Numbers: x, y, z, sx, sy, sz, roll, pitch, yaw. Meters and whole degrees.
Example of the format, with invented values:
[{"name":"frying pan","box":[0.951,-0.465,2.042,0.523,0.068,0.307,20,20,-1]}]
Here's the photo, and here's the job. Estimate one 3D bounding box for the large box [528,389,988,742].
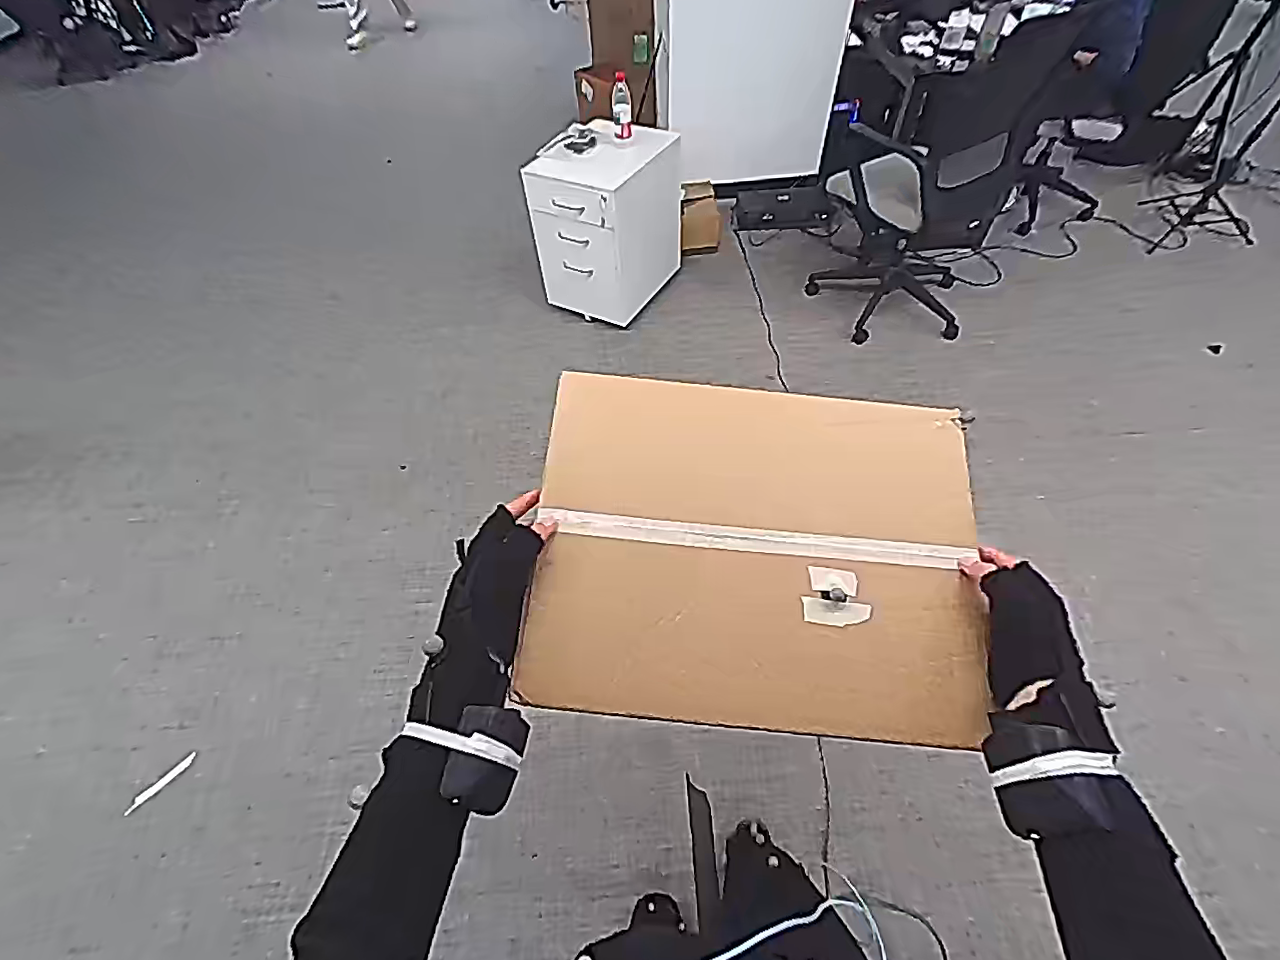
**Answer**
[{"name":"large box","box":[0.106,0.115,0.649,0.408,0.320,0.320,6,70,0]}]
